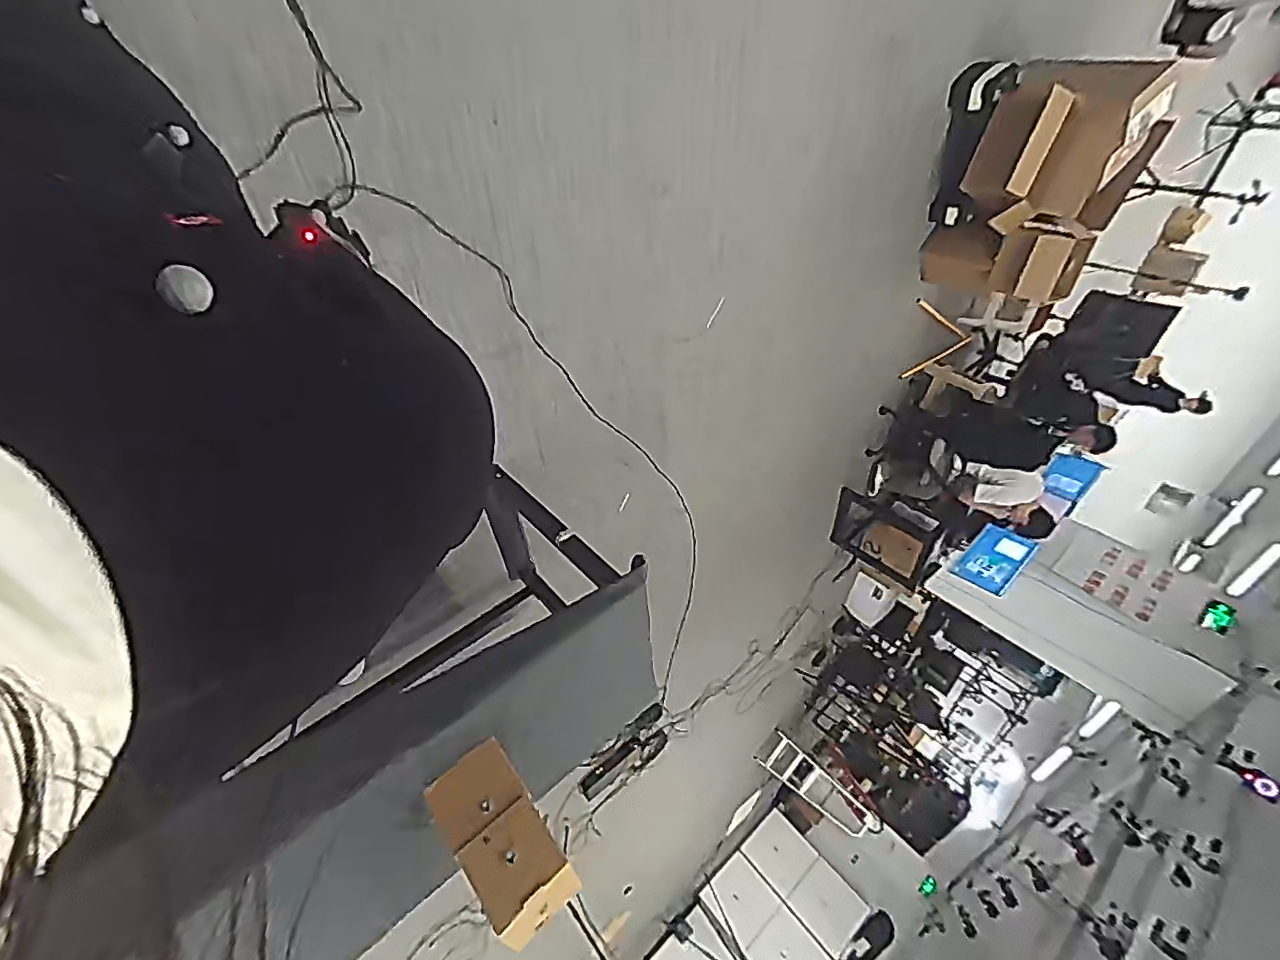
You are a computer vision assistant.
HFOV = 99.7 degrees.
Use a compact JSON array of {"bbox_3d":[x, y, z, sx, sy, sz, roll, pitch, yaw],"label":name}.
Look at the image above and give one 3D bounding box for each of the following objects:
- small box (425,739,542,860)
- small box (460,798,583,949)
[{"bbox_3d":[-0.348,0.723,1.210,0.179,0.176,0.168,-32,137,-26],"label":"small box"},{"bbox_3d":[-0.242,0.796,1.108,0.168,0.176,0.179,-33,137,-27],"label":"small box"}]
